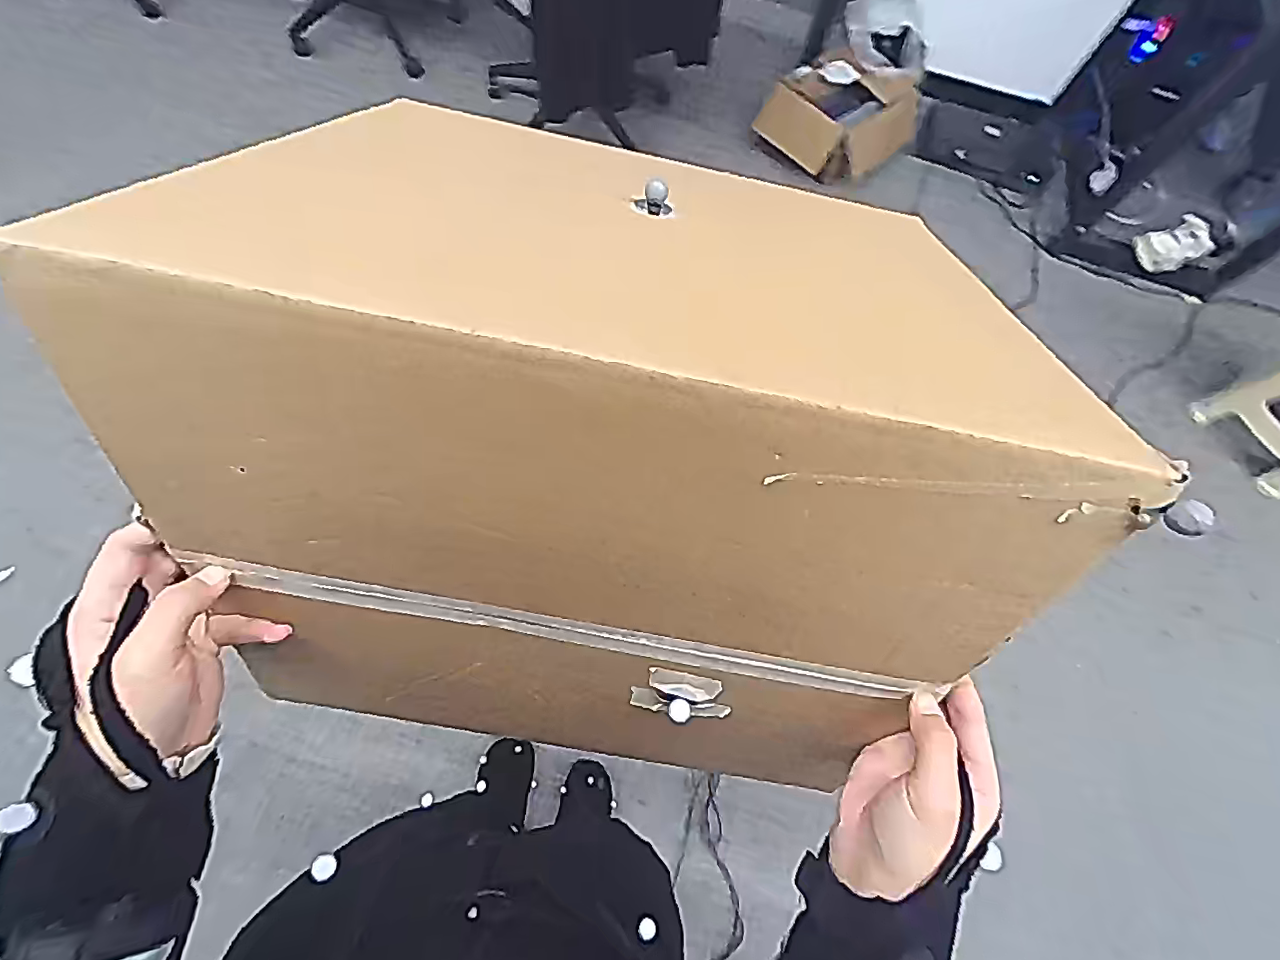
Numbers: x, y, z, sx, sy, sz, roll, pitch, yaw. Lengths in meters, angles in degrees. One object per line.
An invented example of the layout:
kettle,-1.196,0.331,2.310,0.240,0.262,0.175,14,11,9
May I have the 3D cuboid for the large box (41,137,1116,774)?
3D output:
large box,-0.028,-0.024,0.403,0.408,0.320,0.320,10,43,-3
